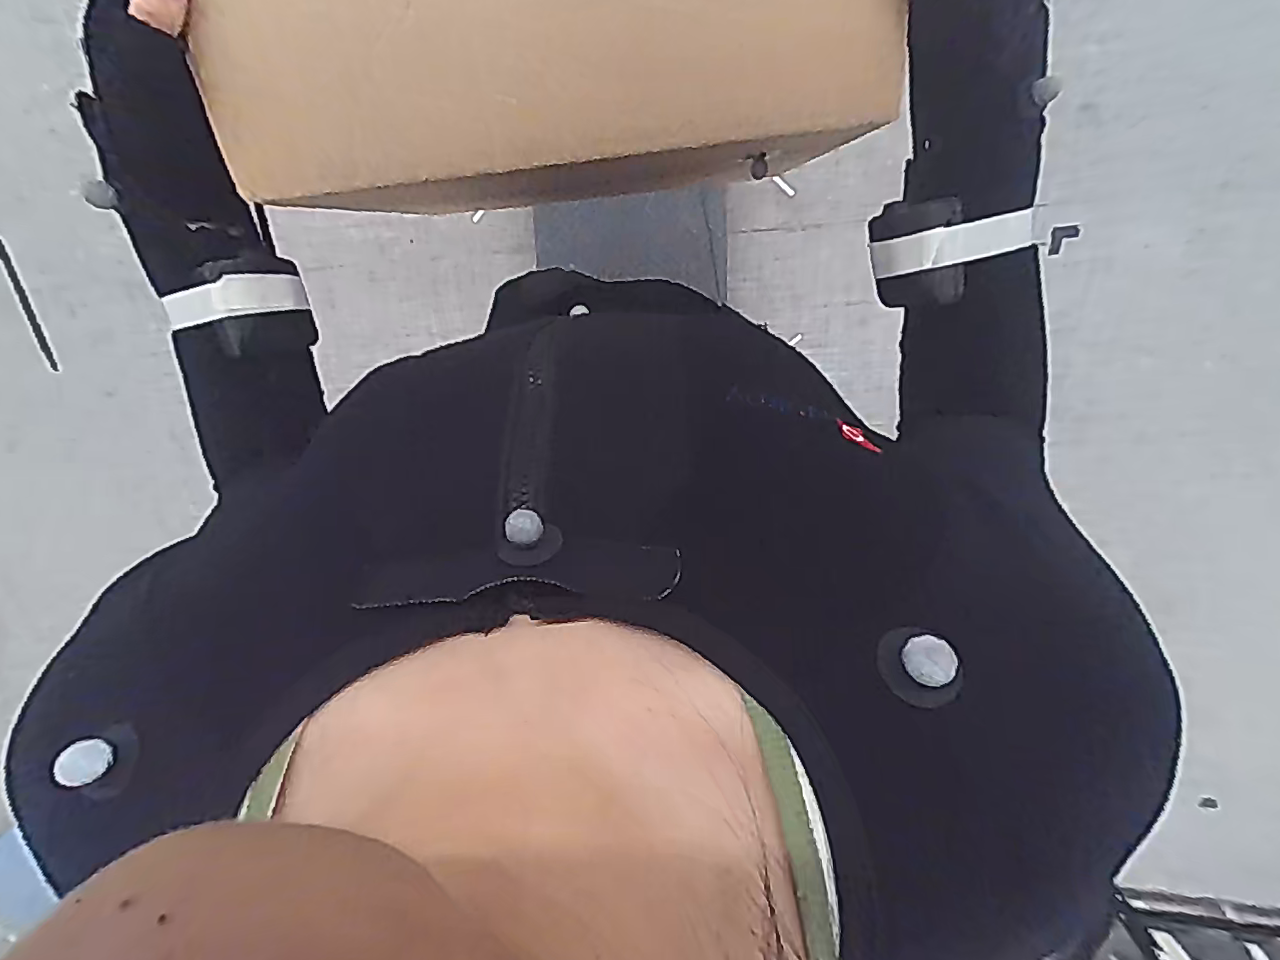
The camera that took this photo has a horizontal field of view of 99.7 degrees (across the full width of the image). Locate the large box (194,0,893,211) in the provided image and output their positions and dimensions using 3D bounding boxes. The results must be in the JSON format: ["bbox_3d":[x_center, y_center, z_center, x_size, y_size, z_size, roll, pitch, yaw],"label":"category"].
[{"bbox_3d":[-0.059,-0.402,0.413,0.408,0.320,0.320,-5,114,4],"label":"large box"}]
